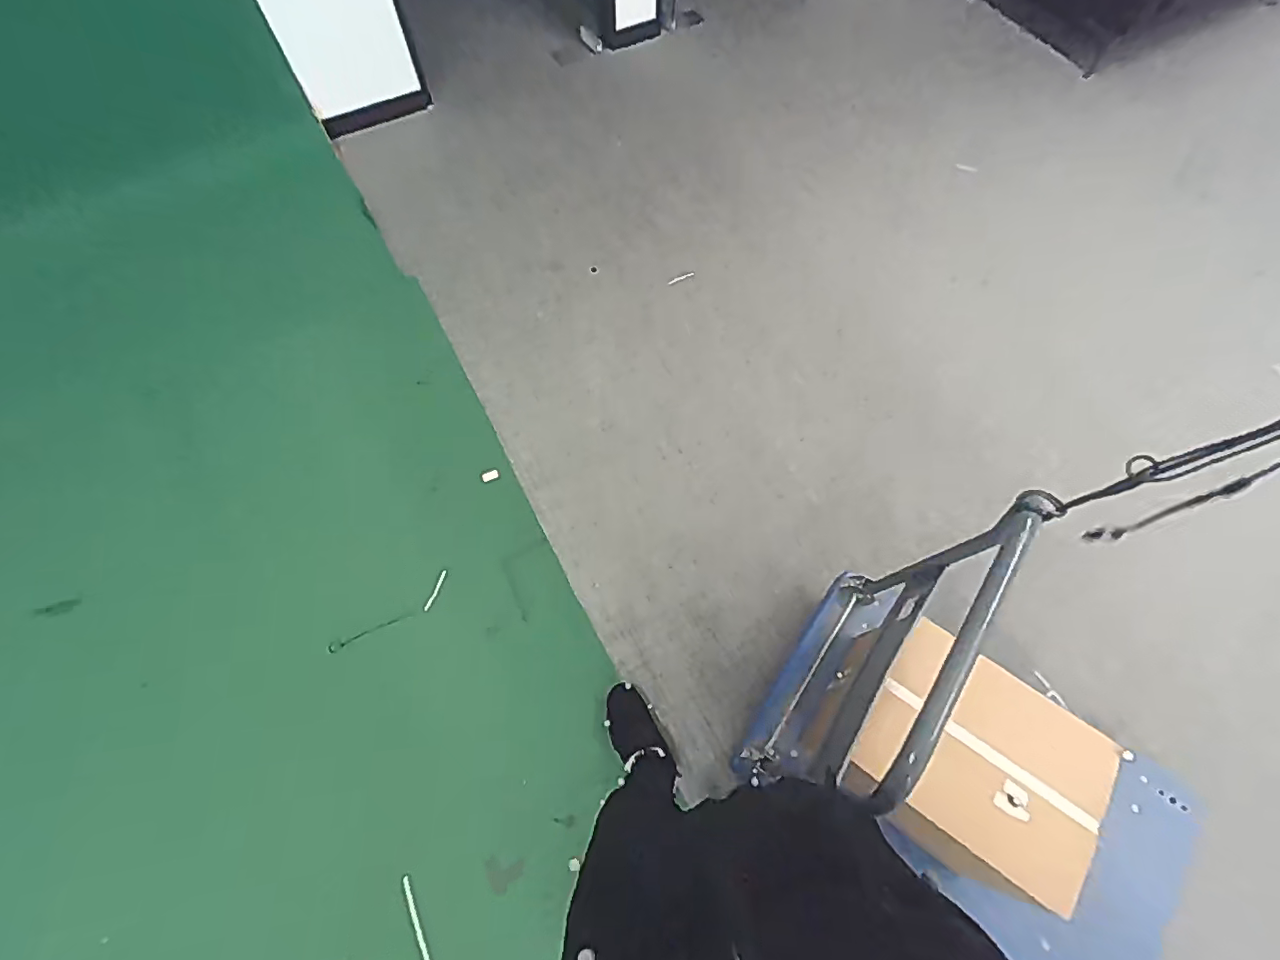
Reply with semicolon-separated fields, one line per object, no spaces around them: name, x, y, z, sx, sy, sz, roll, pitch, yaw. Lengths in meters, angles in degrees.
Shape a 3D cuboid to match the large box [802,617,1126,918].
large box;0.608;0.539;1.082;0.408;0.320;0.320;35;70;13
